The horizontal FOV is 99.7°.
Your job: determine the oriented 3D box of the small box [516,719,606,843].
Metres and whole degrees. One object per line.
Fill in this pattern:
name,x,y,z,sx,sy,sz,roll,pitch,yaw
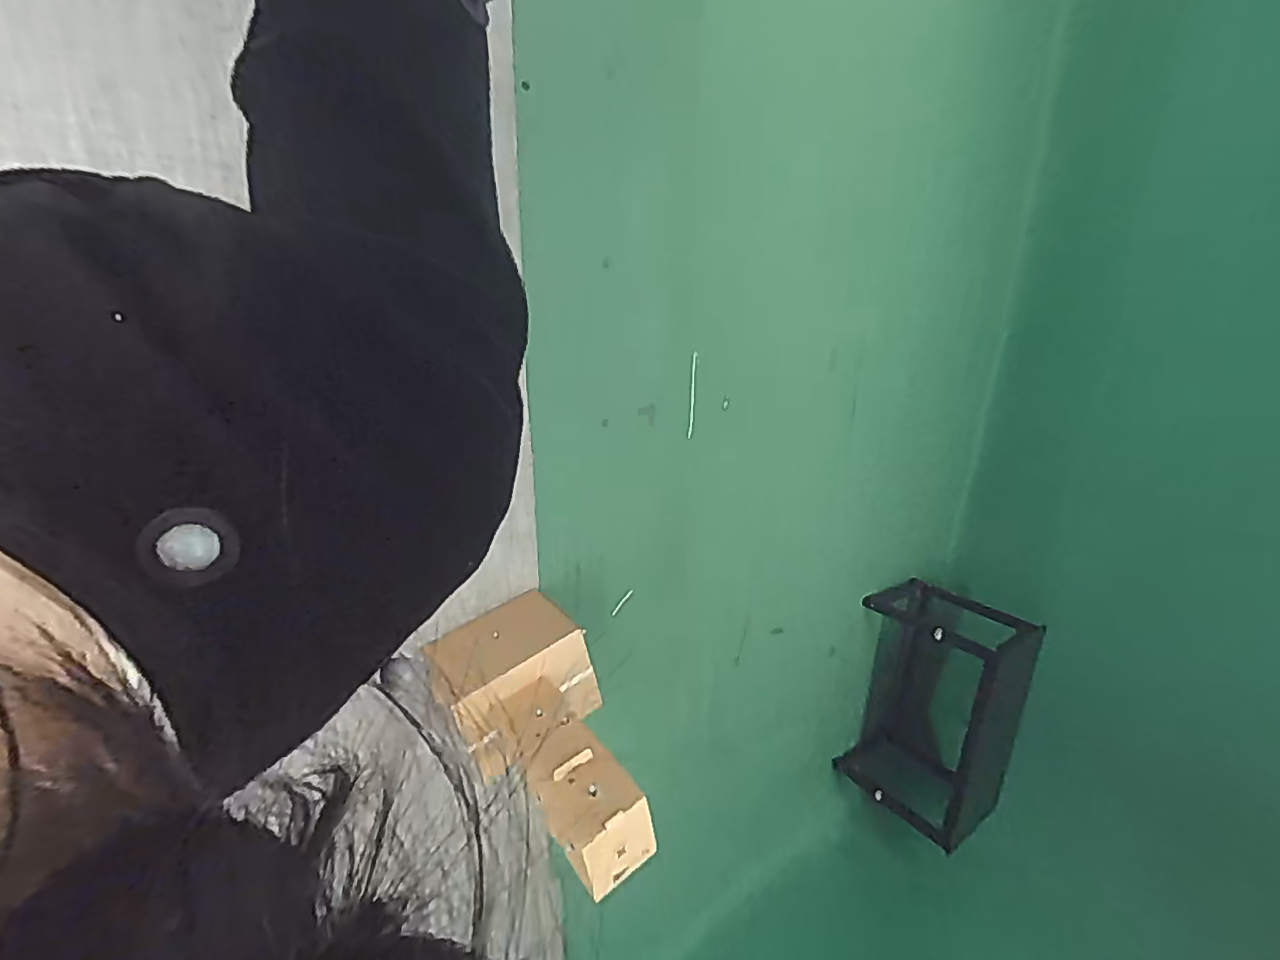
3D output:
small box,-0.186,0.718,1.321,0.168,0.176,0.179,-21,115,-31

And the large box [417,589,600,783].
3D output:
large box,-0.397,0.602,1.653,0.408,0.320,0.320,-27,120,-30

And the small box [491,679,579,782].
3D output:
small box,-0.275,0.672,1.451,0.179,0.176,0.168,-22,115,-30

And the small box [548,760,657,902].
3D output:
small box,-0.086,0.758,1.196,0.168,0.176,0.179,-22,114,-30
